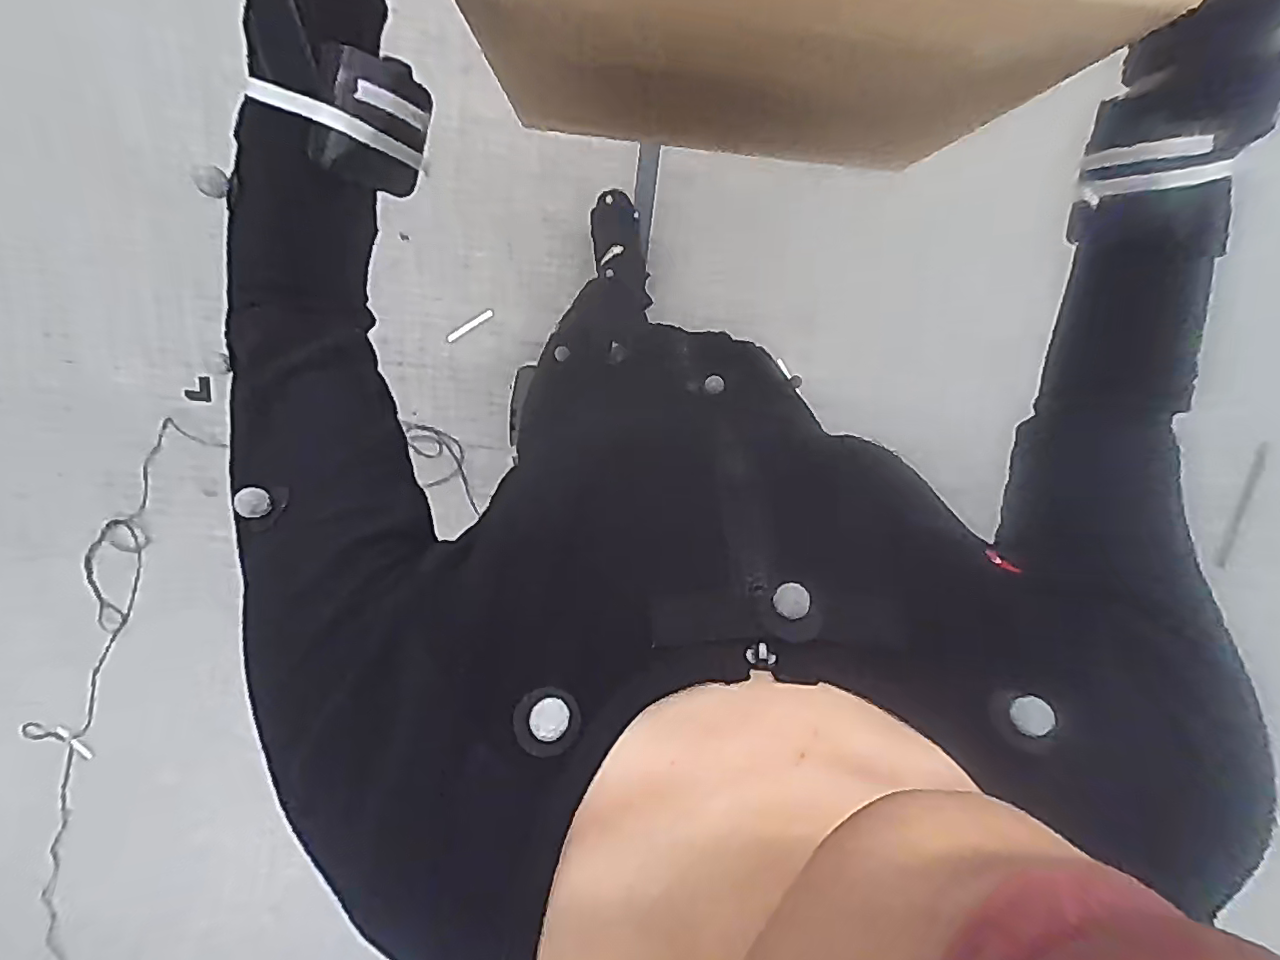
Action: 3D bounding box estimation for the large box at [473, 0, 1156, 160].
[{"bbox_3d":[0.094,-0.456,0.383,0.408,0.320,0.320,4,106,-4],"label":"large box"}]
